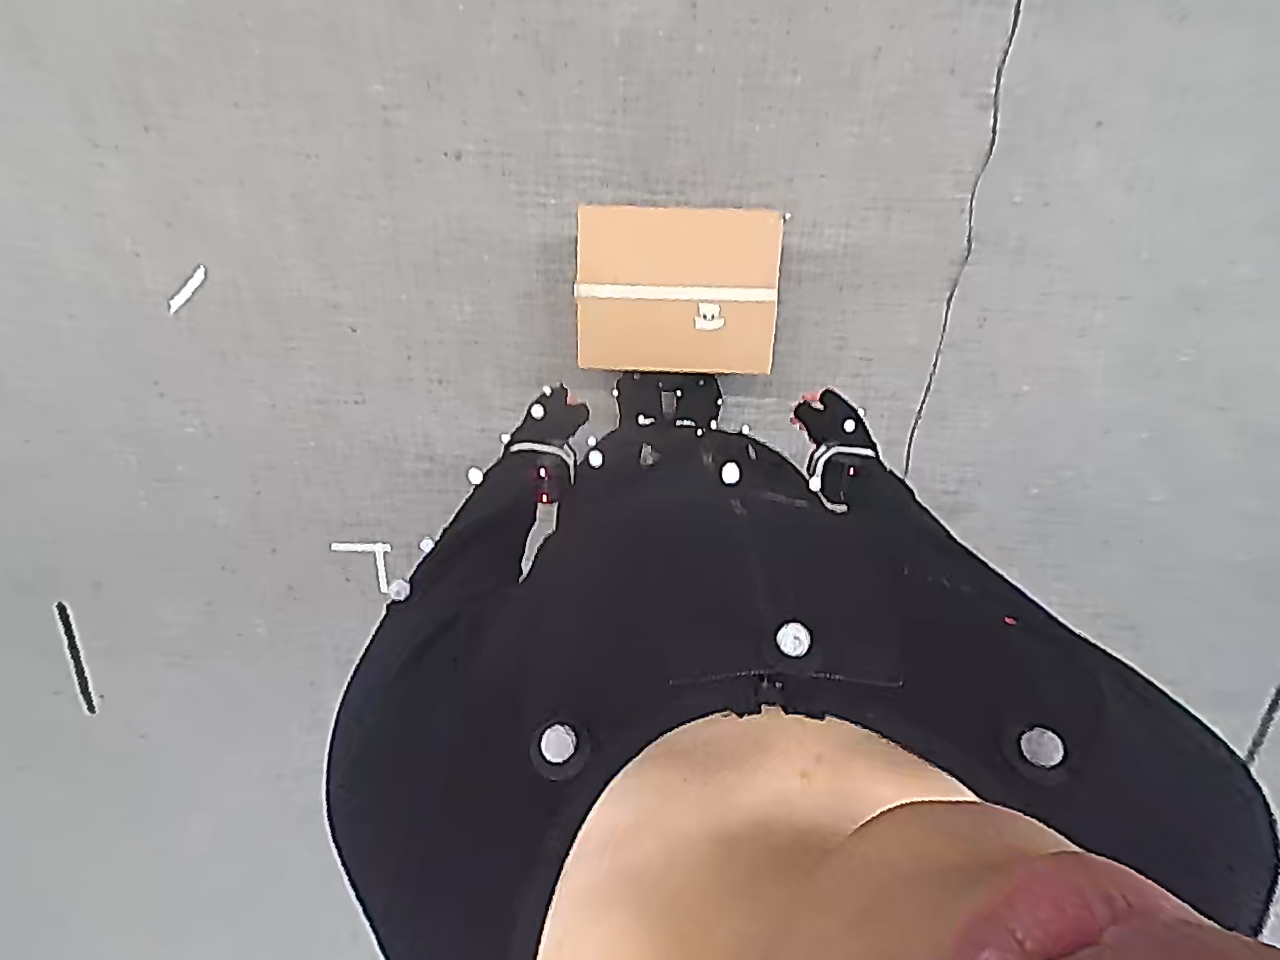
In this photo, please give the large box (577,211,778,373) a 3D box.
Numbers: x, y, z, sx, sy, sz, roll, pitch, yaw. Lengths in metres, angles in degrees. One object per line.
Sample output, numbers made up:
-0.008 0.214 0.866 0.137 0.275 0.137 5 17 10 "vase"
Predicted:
0.071 -0.415 1.245 0.408 0.320 0.320 1 105 0 "large box"
